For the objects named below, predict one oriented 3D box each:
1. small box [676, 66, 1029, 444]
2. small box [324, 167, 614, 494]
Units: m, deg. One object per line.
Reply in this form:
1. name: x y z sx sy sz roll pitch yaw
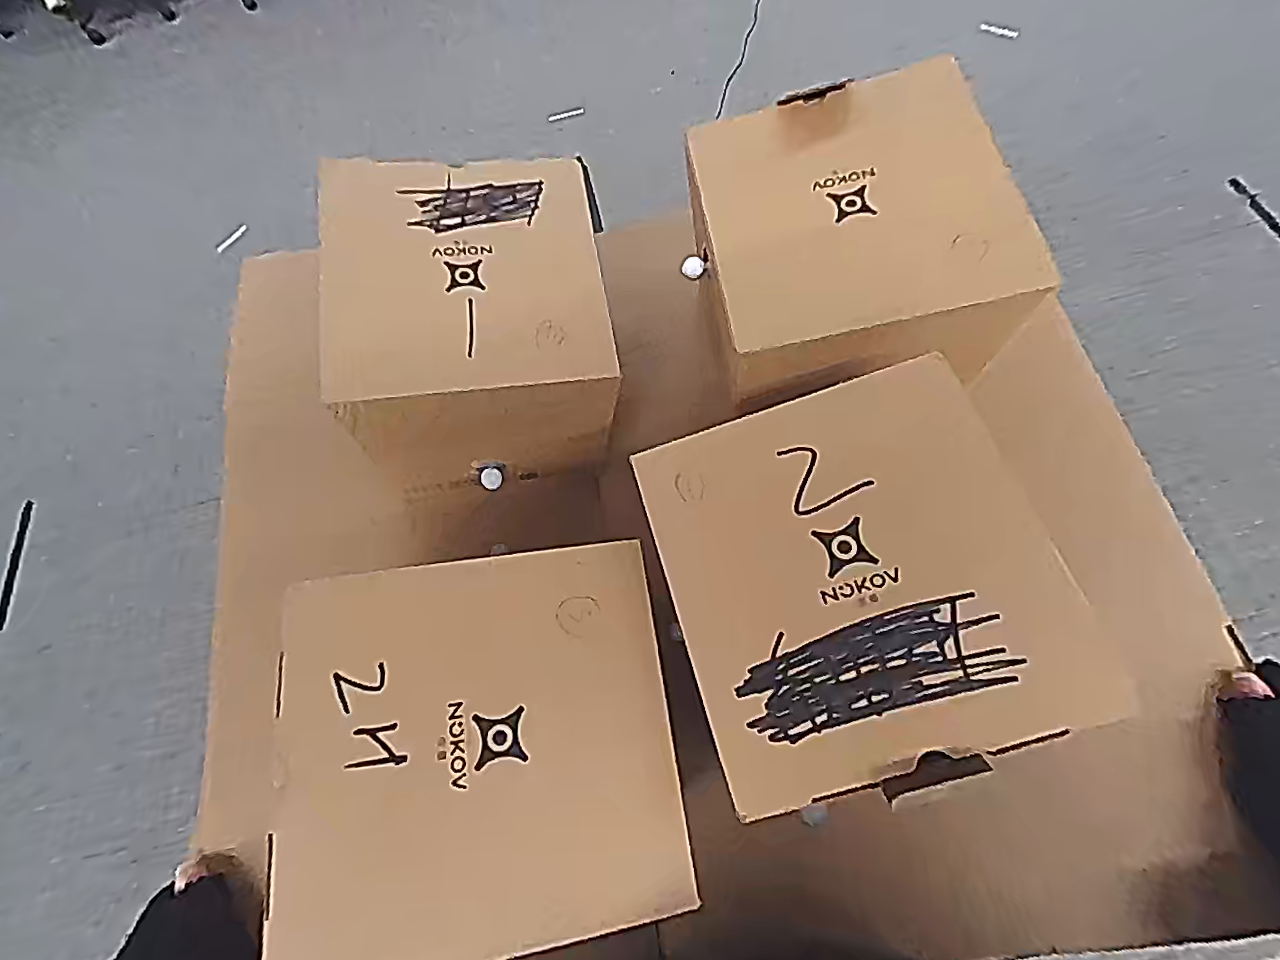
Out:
1. small box: 0.129 -0.138 0.393 0.168 0.176 0.179 -11 69 7
2. small box: -0.120 -0.104 0.415 0.168 0.176 0.179 -7 71 -10
